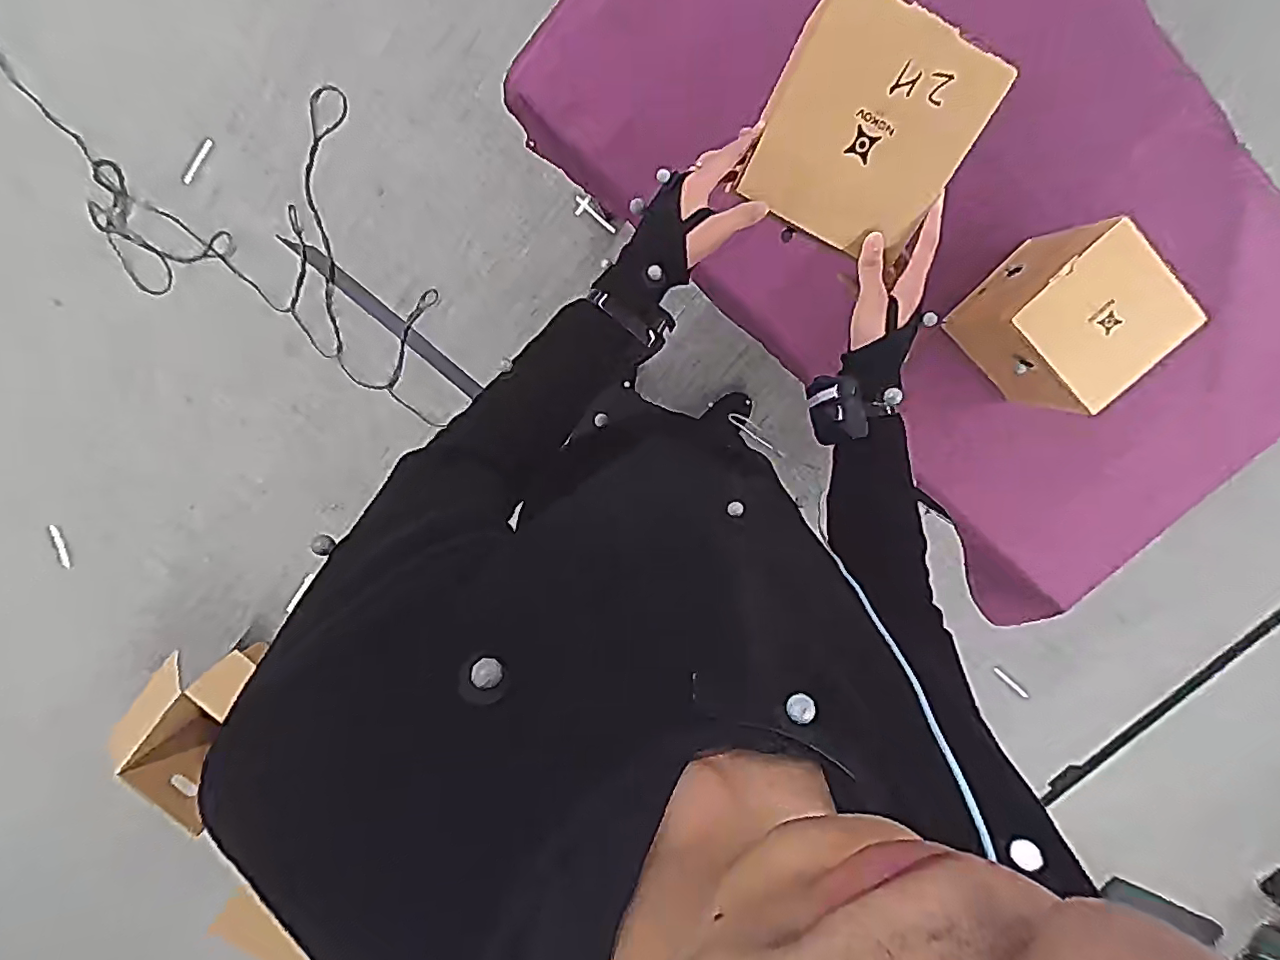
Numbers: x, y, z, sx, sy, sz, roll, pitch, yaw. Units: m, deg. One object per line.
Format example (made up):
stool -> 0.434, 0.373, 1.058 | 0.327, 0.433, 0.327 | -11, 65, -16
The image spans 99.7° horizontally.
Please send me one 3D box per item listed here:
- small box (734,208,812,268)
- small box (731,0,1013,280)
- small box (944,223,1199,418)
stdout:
small box -> 0.343, -0.622, 1.273 | 0.179, 0.176, 0.168 | 37, 102, -10
small box -> 0.201, -0.326, 0.533 | 0.168, 0.176, 0.179 | 25, 117, -9
small box -> 0.569, -0.212, 0.740 | 0.179, 0.176, 0.168 | 43, 102, -8
